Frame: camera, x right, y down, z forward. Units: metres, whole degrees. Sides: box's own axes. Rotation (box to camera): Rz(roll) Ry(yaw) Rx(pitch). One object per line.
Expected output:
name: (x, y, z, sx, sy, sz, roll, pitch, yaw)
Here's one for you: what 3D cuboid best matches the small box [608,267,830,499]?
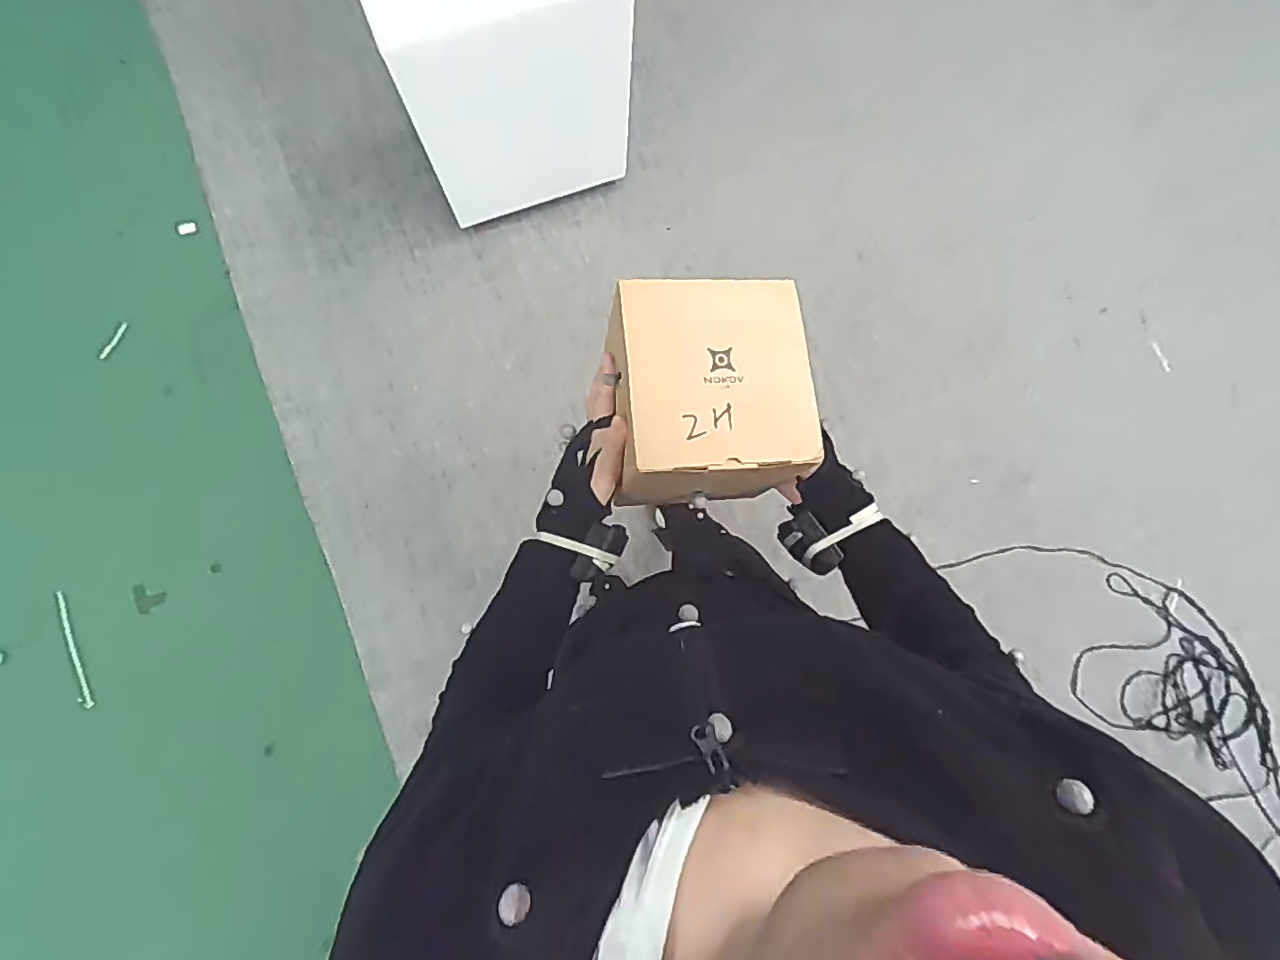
small box: (0.061, -0.085, 0.536, 0.168, 0.176, 0.179, -3, 78, -9)
